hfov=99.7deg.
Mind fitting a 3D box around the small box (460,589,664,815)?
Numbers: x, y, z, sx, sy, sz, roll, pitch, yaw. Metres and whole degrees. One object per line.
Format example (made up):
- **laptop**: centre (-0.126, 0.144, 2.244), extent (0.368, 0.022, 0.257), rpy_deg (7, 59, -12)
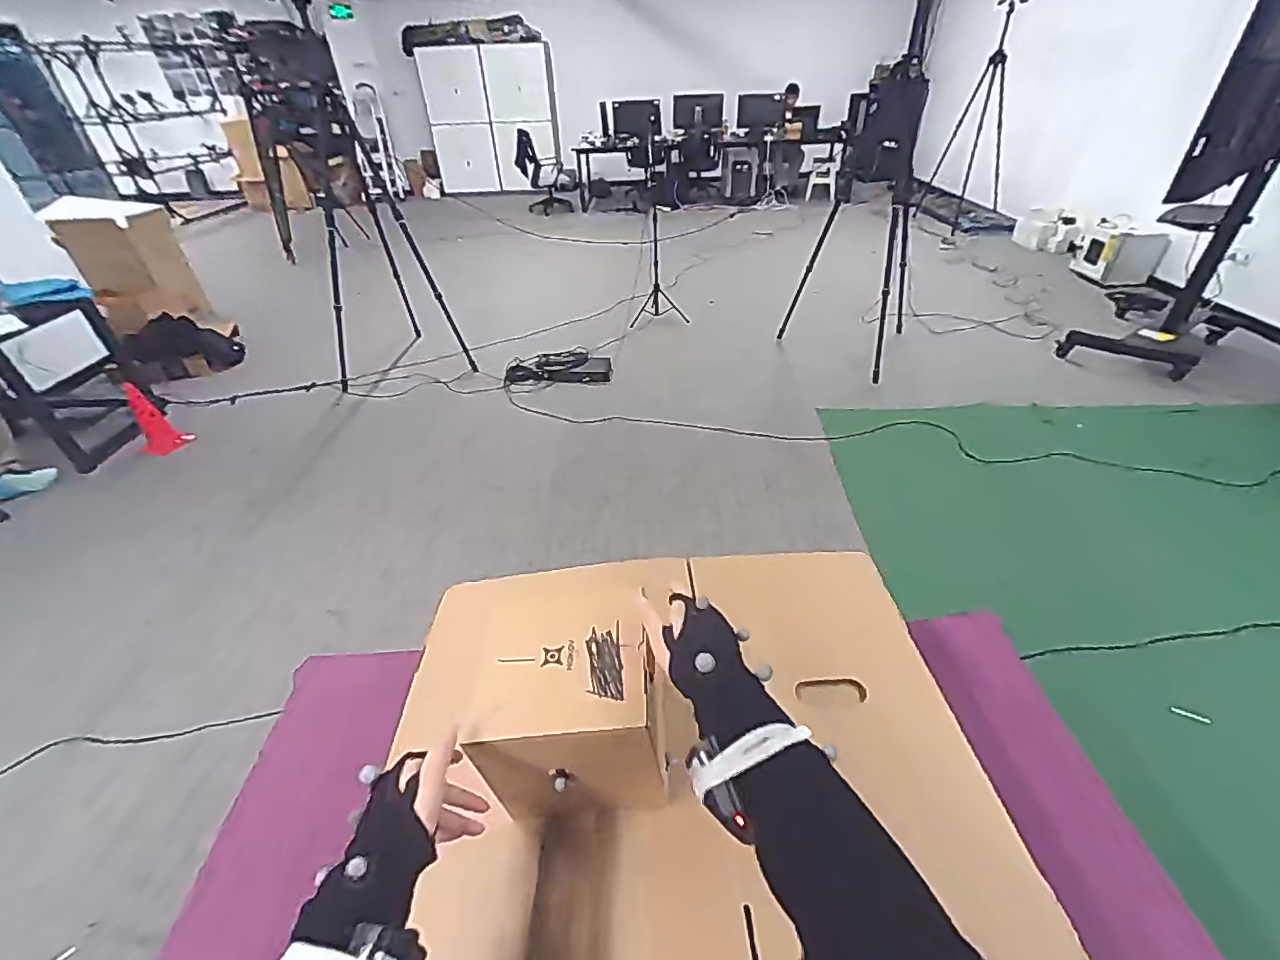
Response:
- **small box**: centre (-0.069, 0.246, 0.598), extent (0.179, 0.176, 0.168), rpy_deg (-9, 37, 5)
